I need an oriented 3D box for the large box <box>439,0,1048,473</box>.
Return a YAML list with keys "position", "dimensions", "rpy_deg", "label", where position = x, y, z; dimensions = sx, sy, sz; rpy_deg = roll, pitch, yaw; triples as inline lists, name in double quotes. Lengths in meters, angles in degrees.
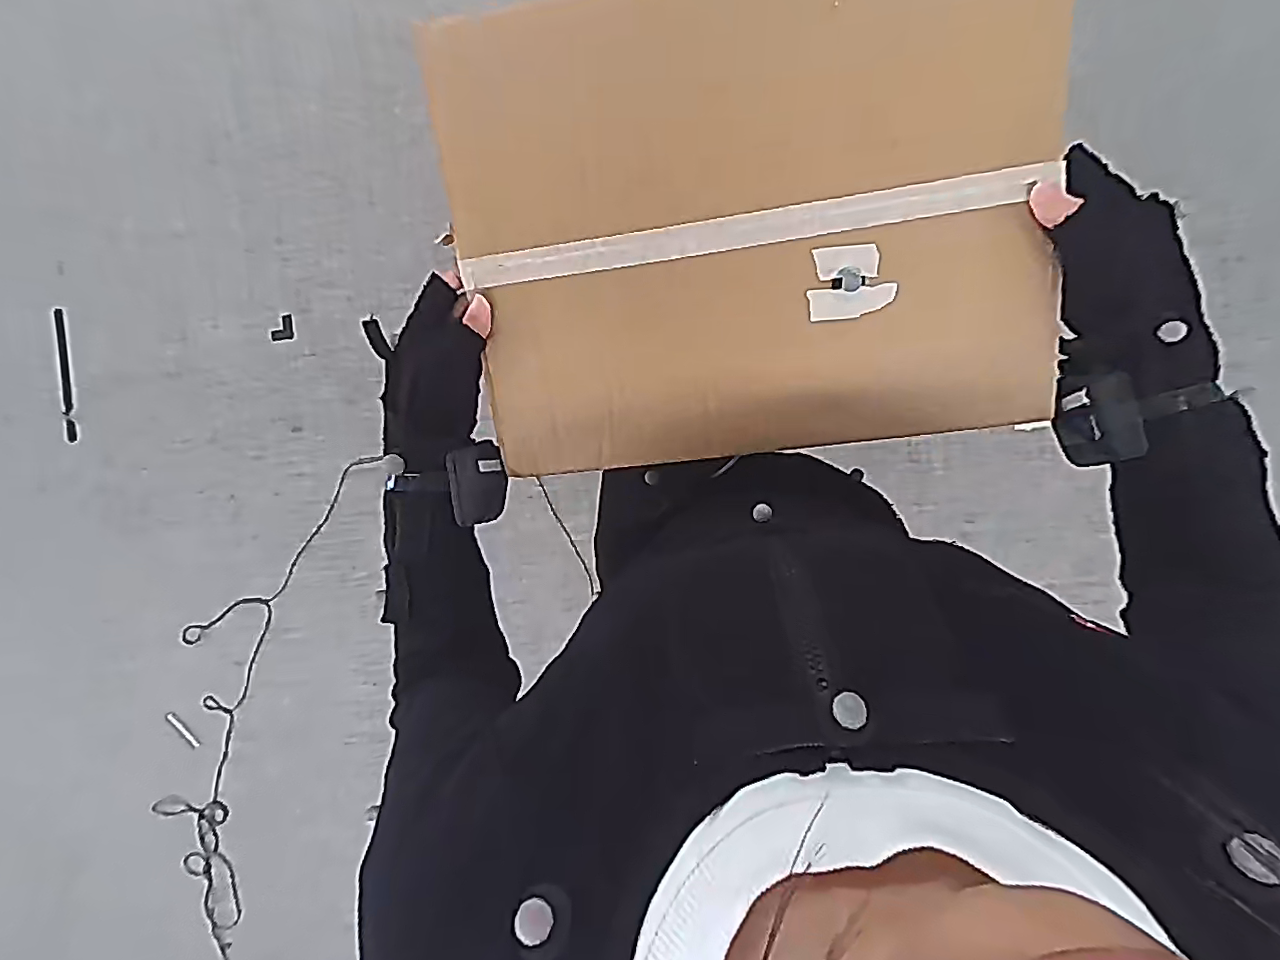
- position: [0.086, -0.211, 0.529]
  dimensions: [0.408, 0.320, 0.320]
  rpy_deg: [-7, 103, 6]
  label: "large box"
